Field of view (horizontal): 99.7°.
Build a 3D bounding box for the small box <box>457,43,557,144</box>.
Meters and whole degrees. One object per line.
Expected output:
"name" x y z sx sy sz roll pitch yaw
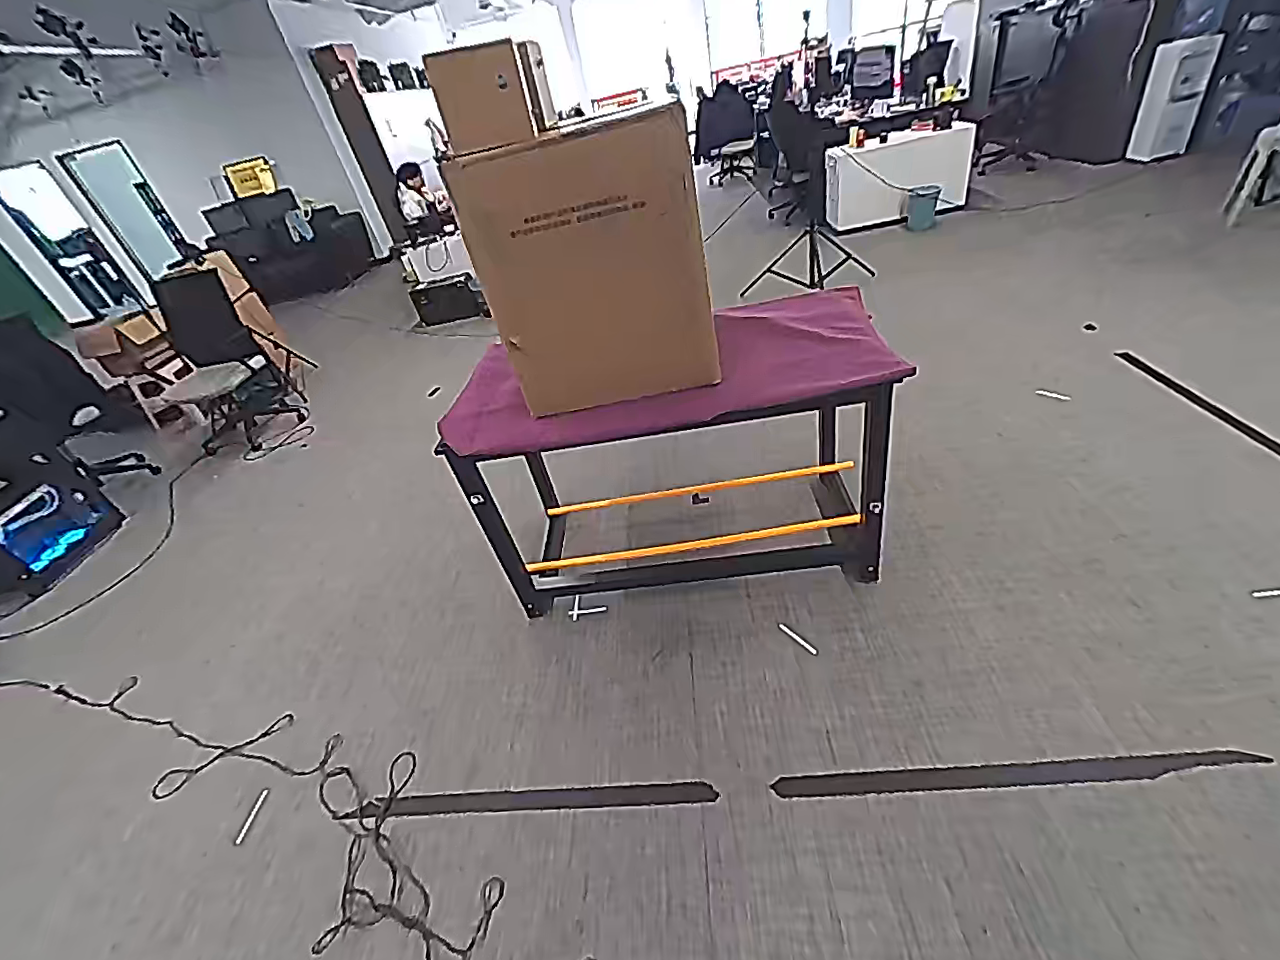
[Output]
"small box" -0.308 -0.921 1.295 0.168 0.176 0.179 -7 36 8
